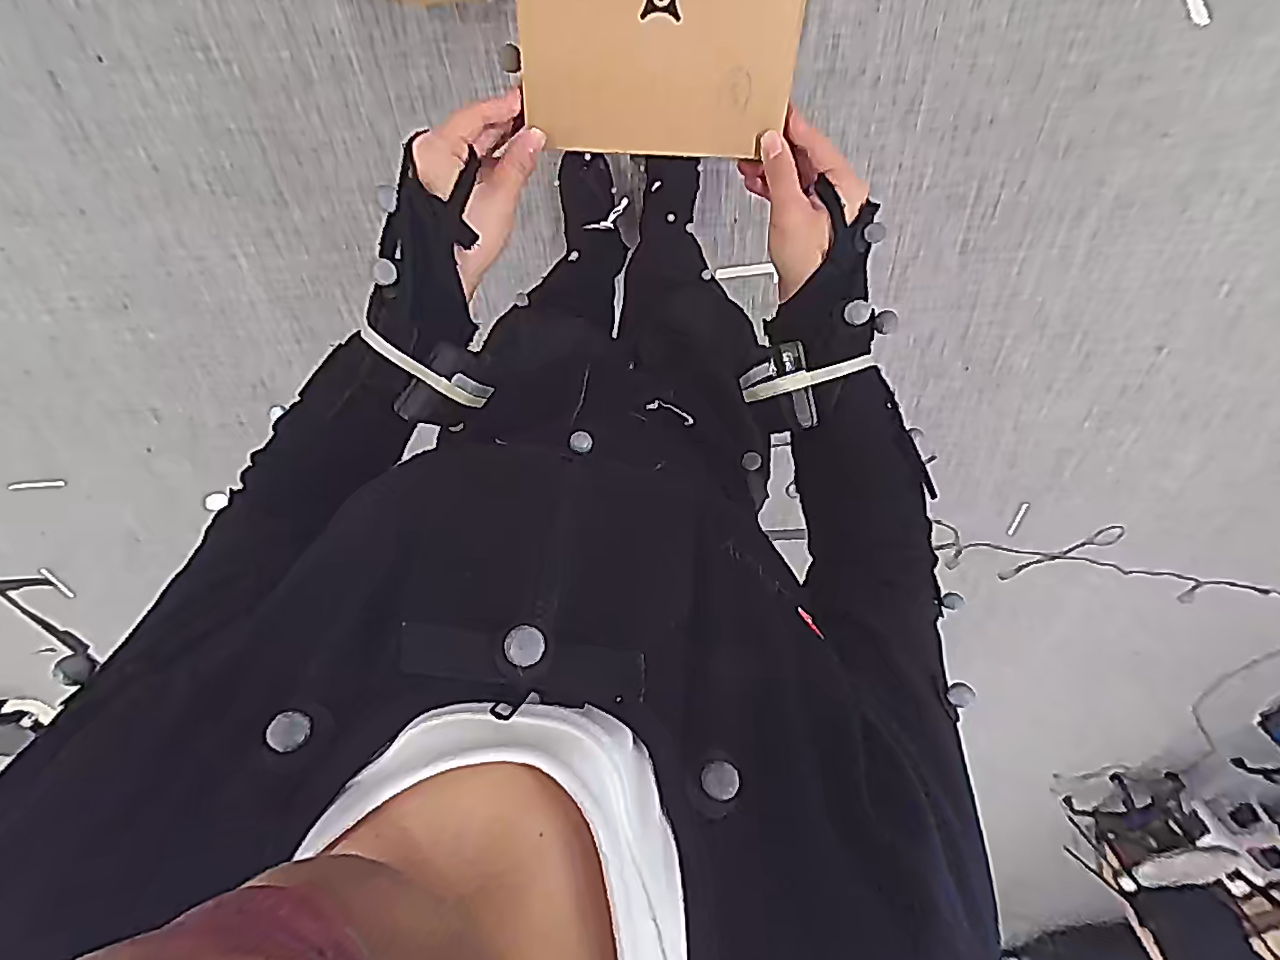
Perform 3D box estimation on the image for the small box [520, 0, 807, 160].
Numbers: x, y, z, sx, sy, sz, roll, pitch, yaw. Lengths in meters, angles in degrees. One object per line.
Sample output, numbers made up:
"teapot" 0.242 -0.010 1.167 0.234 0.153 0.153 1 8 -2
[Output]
"small box" 0.010 -0.330 0.361 0.168 0.176 0.179 0 128 -5
